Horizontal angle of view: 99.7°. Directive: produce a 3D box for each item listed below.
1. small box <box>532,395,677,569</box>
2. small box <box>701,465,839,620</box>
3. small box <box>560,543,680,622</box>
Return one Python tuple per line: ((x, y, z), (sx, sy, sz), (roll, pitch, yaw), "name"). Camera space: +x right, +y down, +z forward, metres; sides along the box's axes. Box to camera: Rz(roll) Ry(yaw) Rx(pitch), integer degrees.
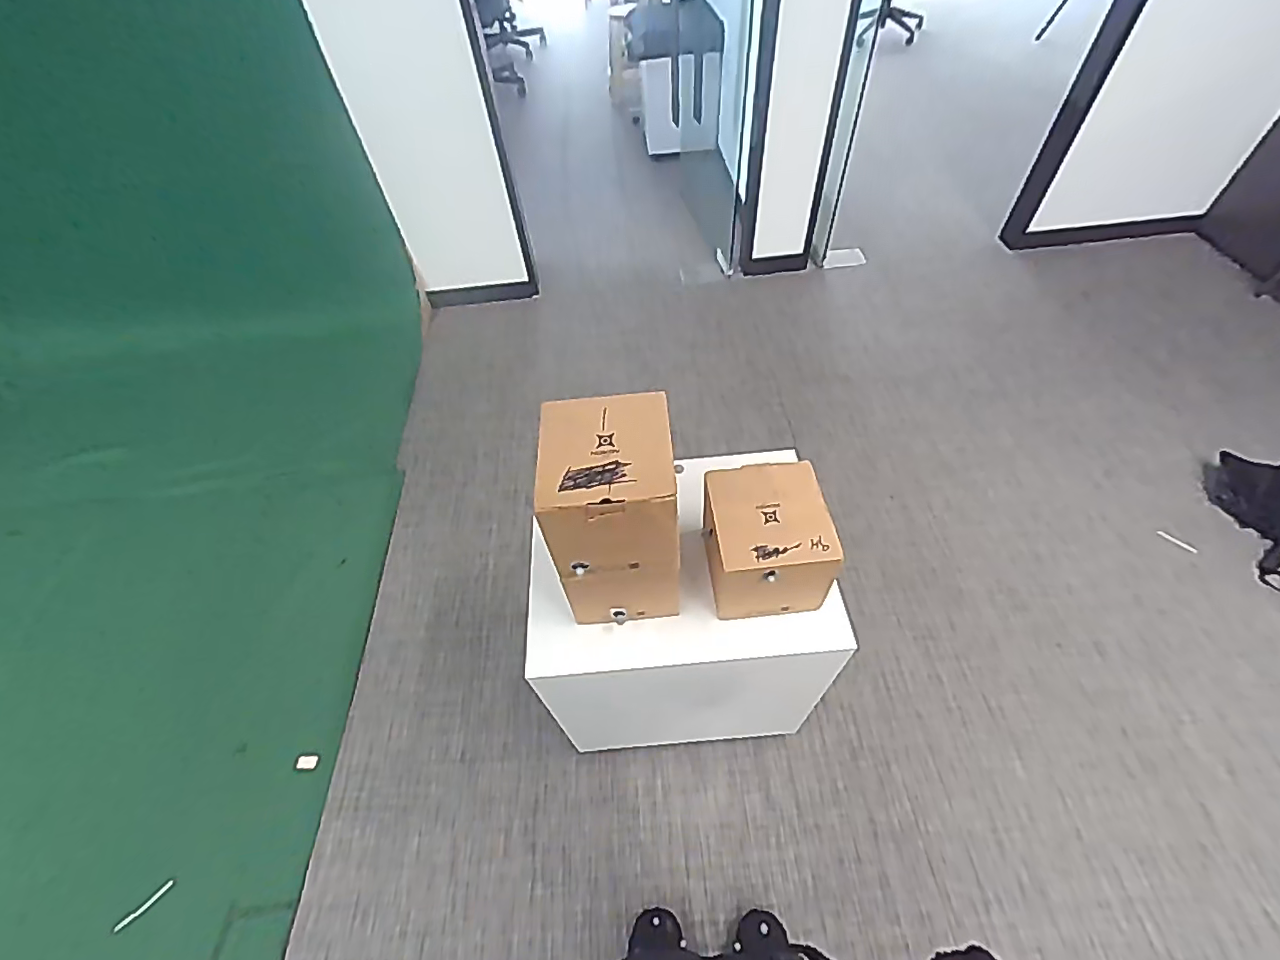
((-0.039, 0.011, 0.731), (0.168, 0.176, 0.179), (-4, 51, 2), "small box")
((0.189, 0.099, 0.849), (0.168, 0.176, 0.179), (-5, 51, 0), "small box")
((-0.031, 0.102, 0.847), (0.168, 0.176, 0.179), (-7, 53, -1), "small box")
